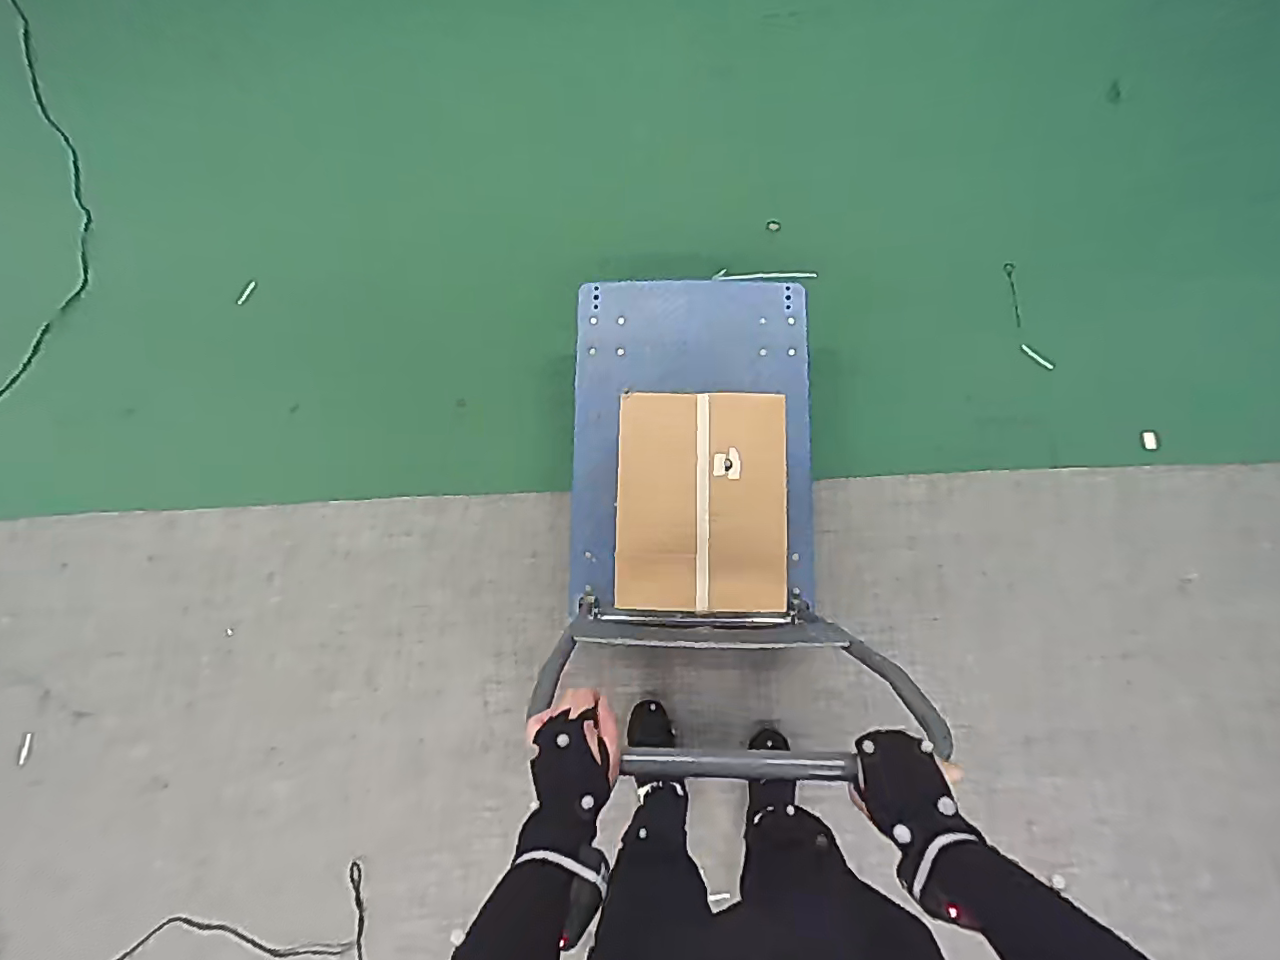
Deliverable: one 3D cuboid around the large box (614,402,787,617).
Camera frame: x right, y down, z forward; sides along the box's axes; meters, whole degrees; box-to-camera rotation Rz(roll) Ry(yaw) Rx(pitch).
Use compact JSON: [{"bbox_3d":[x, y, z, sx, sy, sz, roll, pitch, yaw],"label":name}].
[{"bbox_3d":[0.115,0.071,1.142,0.320,0.320,0.408,1,82,1],"label":"large box"}]
